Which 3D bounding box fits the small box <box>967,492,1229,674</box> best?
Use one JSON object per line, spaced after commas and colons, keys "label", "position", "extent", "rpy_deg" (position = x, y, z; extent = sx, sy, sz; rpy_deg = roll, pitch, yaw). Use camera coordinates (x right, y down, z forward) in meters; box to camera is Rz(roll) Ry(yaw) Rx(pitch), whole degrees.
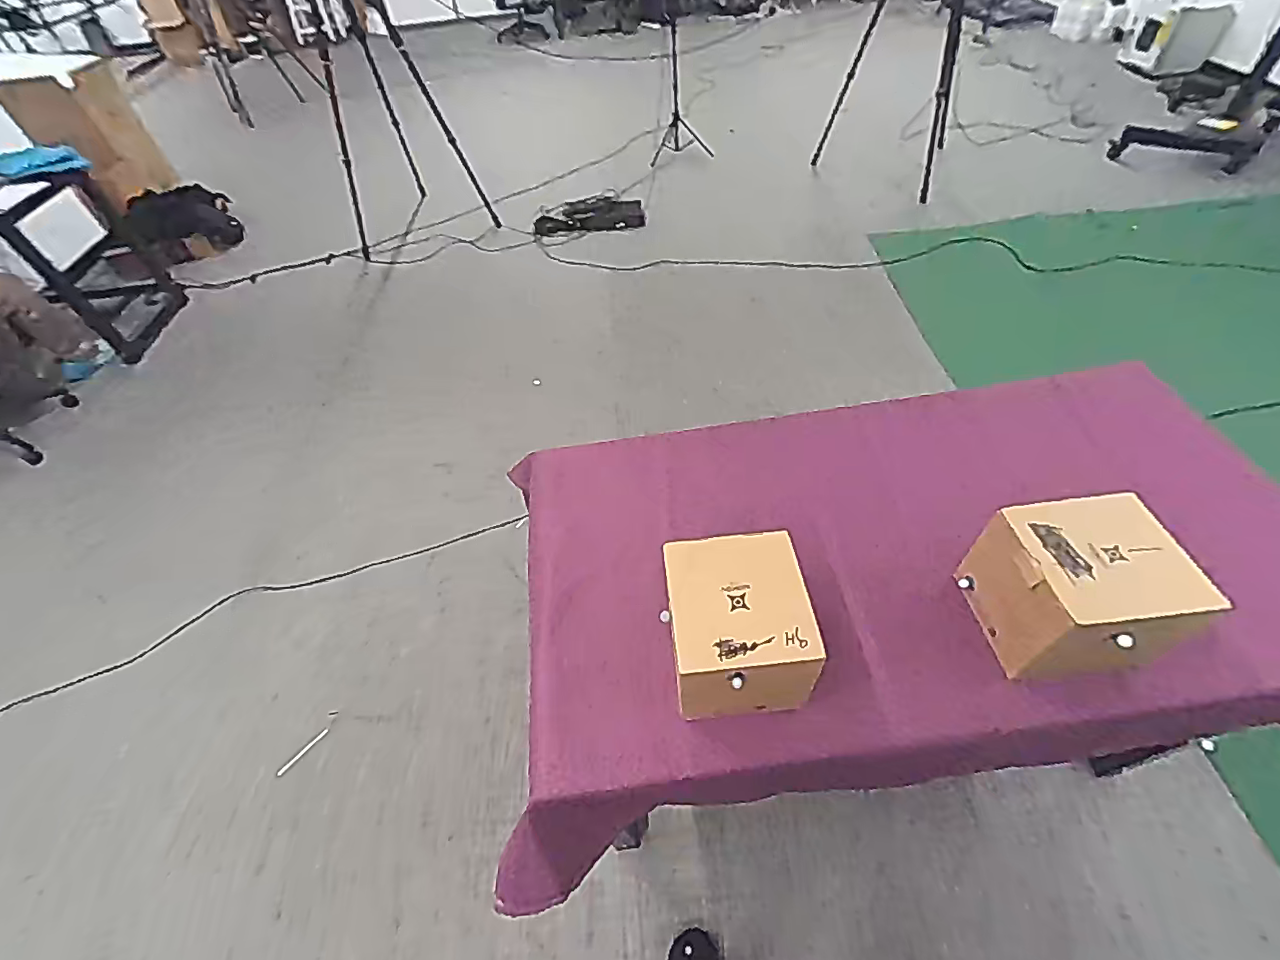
{"label": "small box", "position": [0.559, 0.138, 0.701], "extent": [0.179, 0.176, 0.168], "rpy_deg": [-7, 50, 1]}

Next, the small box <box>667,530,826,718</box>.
{"label": "small box", "position": [0.126, 0.190, 0.709], "extent": [0.168, 0.176, 0.179], "rpy_deg": [-7, 49, 2]}
